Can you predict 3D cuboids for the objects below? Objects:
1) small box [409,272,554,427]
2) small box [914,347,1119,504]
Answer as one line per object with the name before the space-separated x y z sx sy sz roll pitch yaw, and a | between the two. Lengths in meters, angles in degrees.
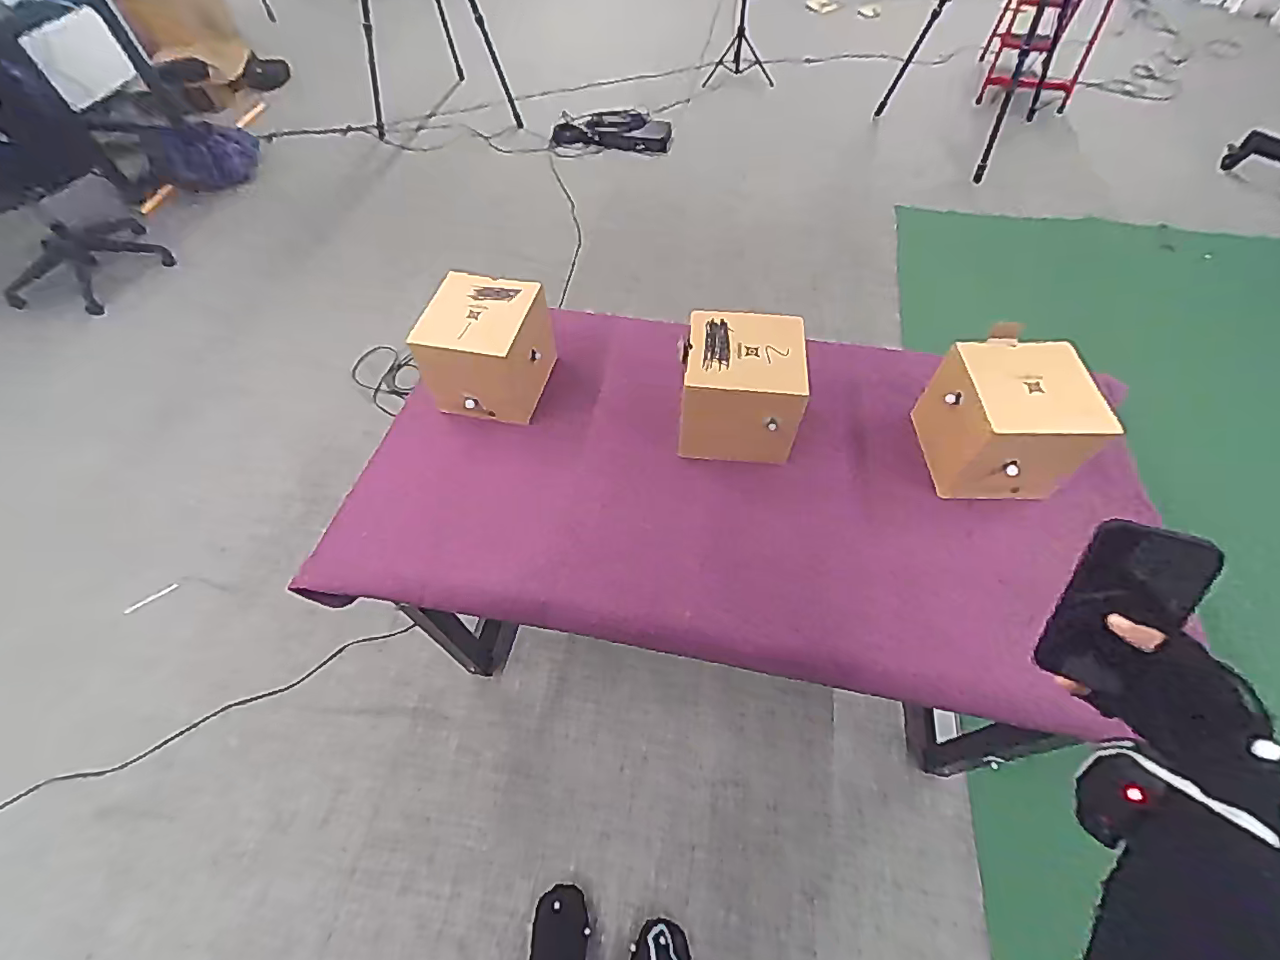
small box | -0.254 -0.219 0.918 0.168 0.176 0.179 11 58 8
small box | 0.540 -0.076 0.808 0.168 0.176 0.179 1 55 2
